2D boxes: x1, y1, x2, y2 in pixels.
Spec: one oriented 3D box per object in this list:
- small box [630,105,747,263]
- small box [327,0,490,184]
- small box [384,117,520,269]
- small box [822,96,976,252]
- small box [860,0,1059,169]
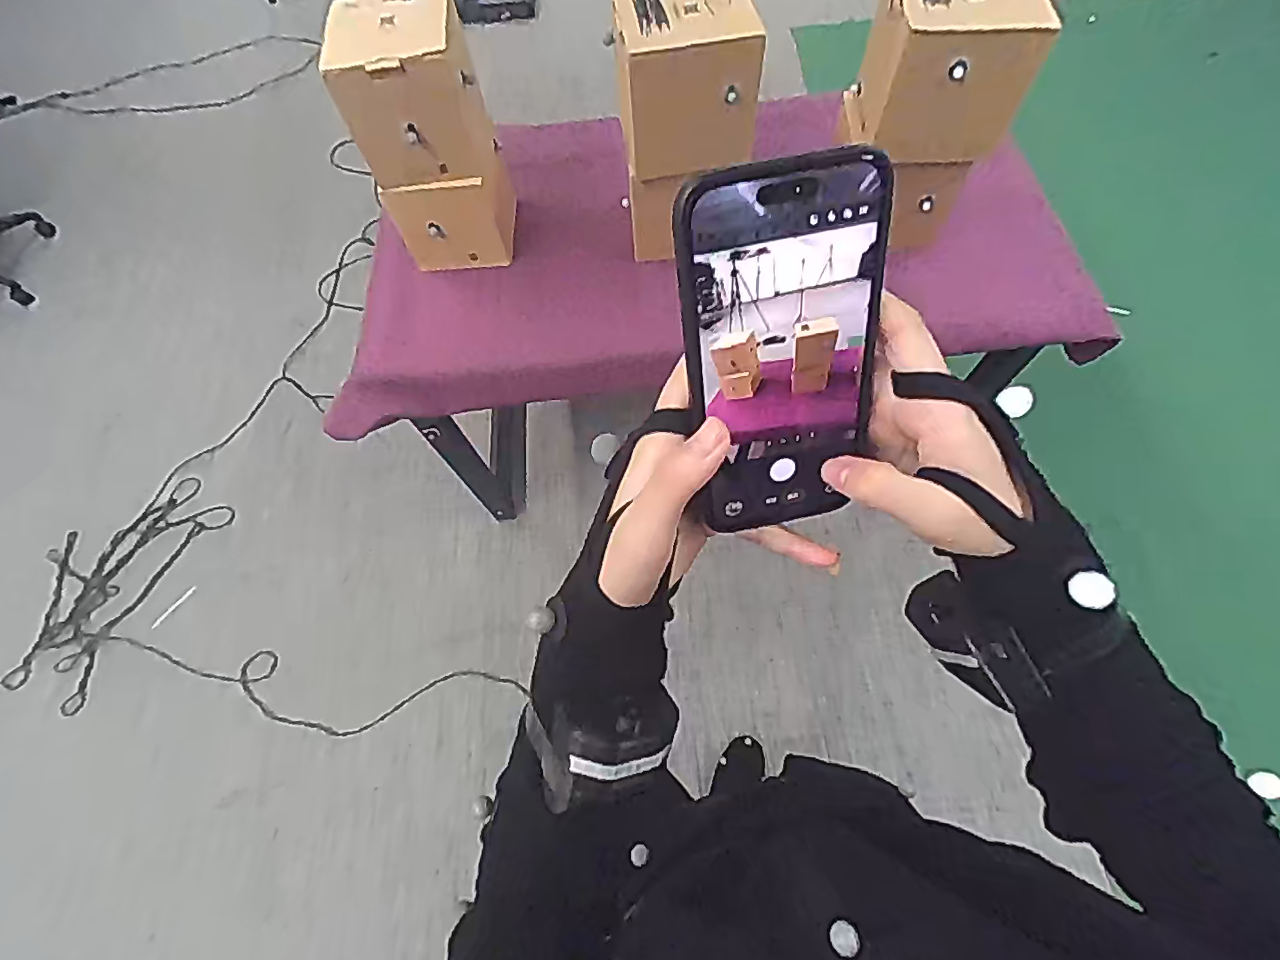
[{"bbox_3d":[0.076,-0.493,0.916,0.179,0.176,0.168,-4,65,3],"label":"small box"},{"bbox_3d":[-0.325,-0.564,0.797,0.168,0.176,0.179,-7,66,0],"label":"small box"},{"bbox_3d":[-0.314,-0.488,0.942,0.168,0.176,0.179,-3,65,3],"label":"small box"},{"bbox_3d":[0.416,-0.501,0.898,0.179,0.176,0.168,2,65,5],"label":"small box"},{"bbox_3d":[0.415,-0.556,0.743,0.179,0.176,0.168,2,65,4],"label":"small box"}]
